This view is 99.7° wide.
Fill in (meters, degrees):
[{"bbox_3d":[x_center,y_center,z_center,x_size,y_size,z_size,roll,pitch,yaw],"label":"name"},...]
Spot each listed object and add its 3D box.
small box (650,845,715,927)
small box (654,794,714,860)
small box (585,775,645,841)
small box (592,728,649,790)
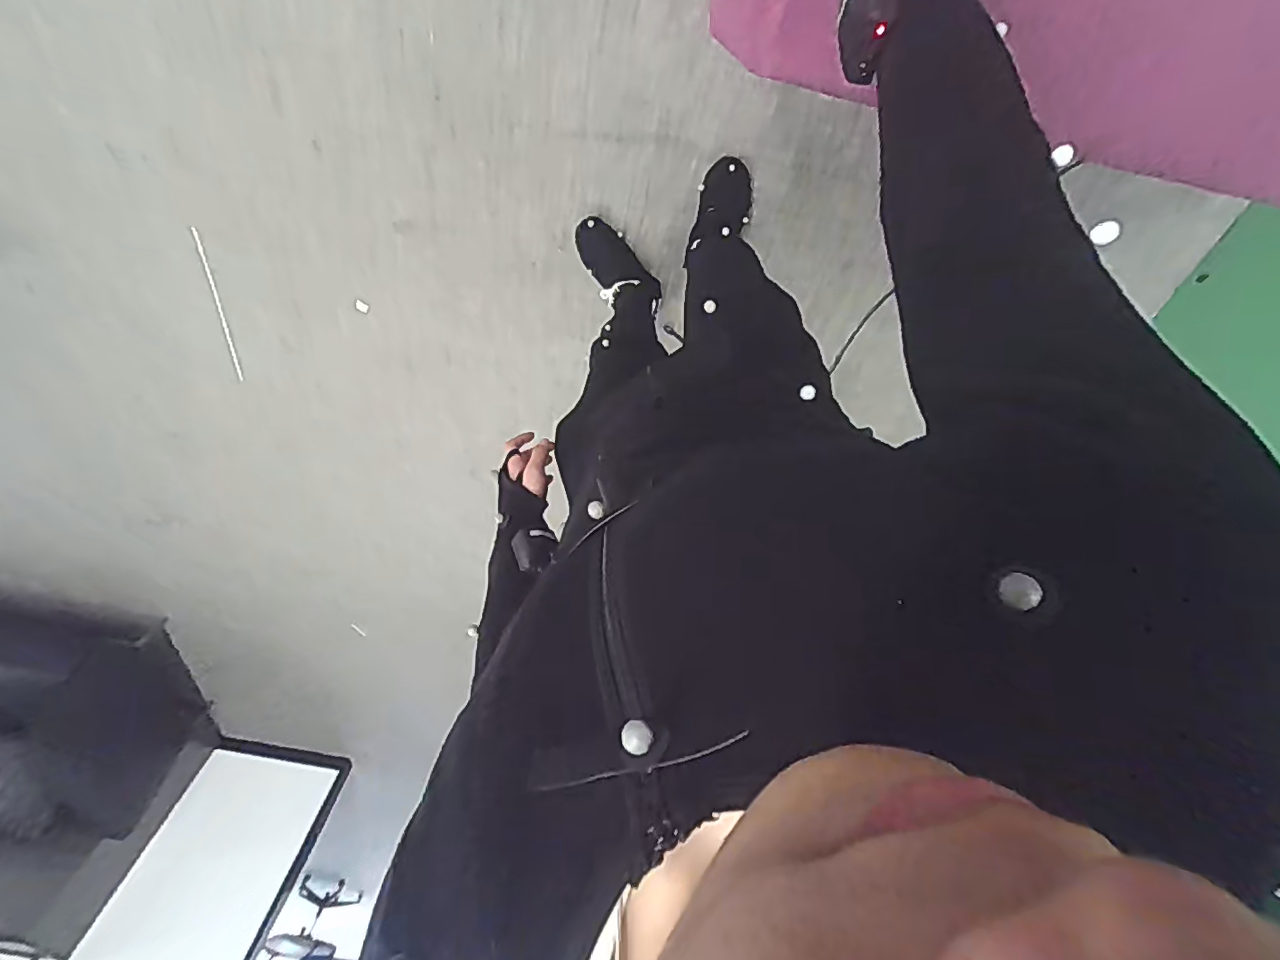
[{"bbox_3d":[0.143,1.353,1.803,0.168,0.176,0.179,17,127,-6],"label":"small box"},{"bbox_3d":[0.160,1.257,1.933,0.168,0.176,0.179,16,127,-6],"label":"small box"},{"bbox_3d":[-0.086,1.165,1.897,0.168,0.176,0.179,18,127,-6],"label":"small box"},{"bbox_3d":[-0.070,1.067,2.027,0.168,0.176,0.179,17,126,-6],"label":"small box"}]
